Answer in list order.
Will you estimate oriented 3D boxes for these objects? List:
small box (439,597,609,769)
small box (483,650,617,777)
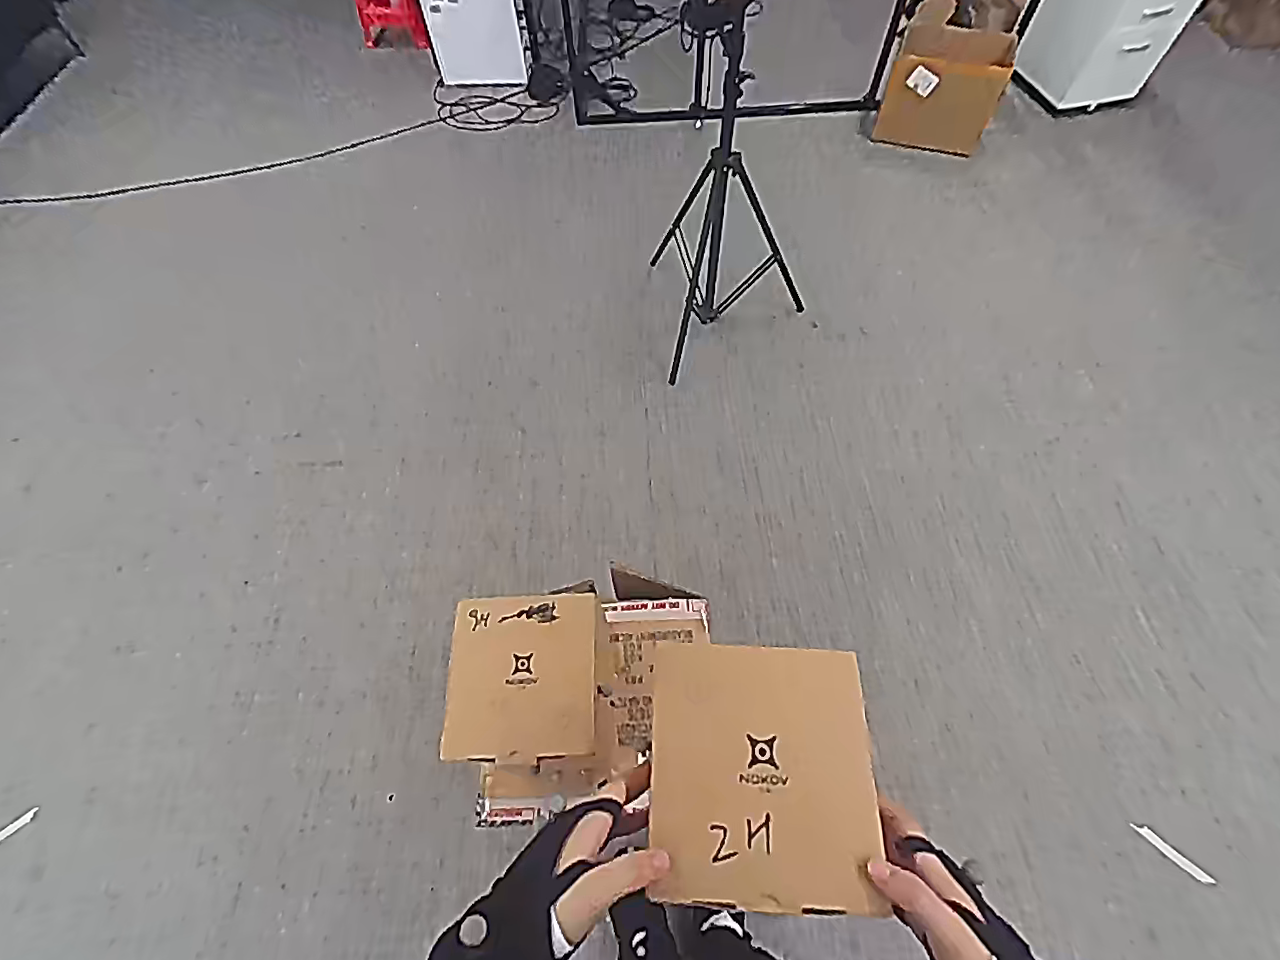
[{"bbox_3d":[-0.128,0.252,0.668,0.168,0.176,0.179,-3,64,2],"label":"small box"},{"bbox_3d":[-0.124,0.339,0.808,0.168,0.176,0.179,-5,64,1],"label":"small box"}]
